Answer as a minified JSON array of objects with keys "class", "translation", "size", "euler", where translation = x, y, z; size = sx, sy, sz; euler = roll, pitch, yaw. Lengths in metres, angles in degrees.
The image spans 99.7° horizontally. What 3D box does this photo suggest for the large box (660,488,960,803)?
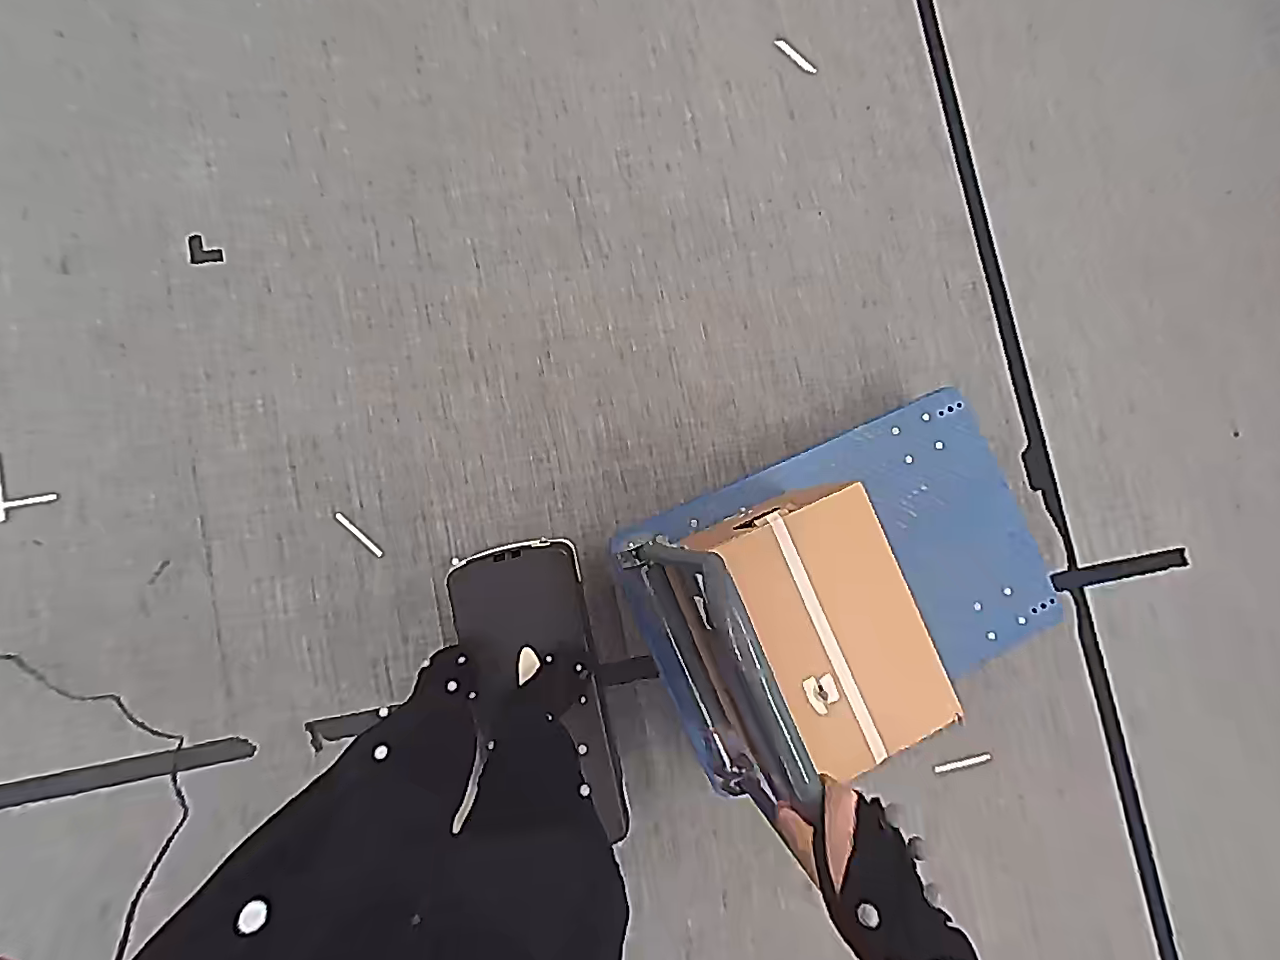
[{"class":"large box","translation":[0.273,0.261,0.987],"size":[0.320,0.320,0.408],"euler":[-23,89,-8]}]
